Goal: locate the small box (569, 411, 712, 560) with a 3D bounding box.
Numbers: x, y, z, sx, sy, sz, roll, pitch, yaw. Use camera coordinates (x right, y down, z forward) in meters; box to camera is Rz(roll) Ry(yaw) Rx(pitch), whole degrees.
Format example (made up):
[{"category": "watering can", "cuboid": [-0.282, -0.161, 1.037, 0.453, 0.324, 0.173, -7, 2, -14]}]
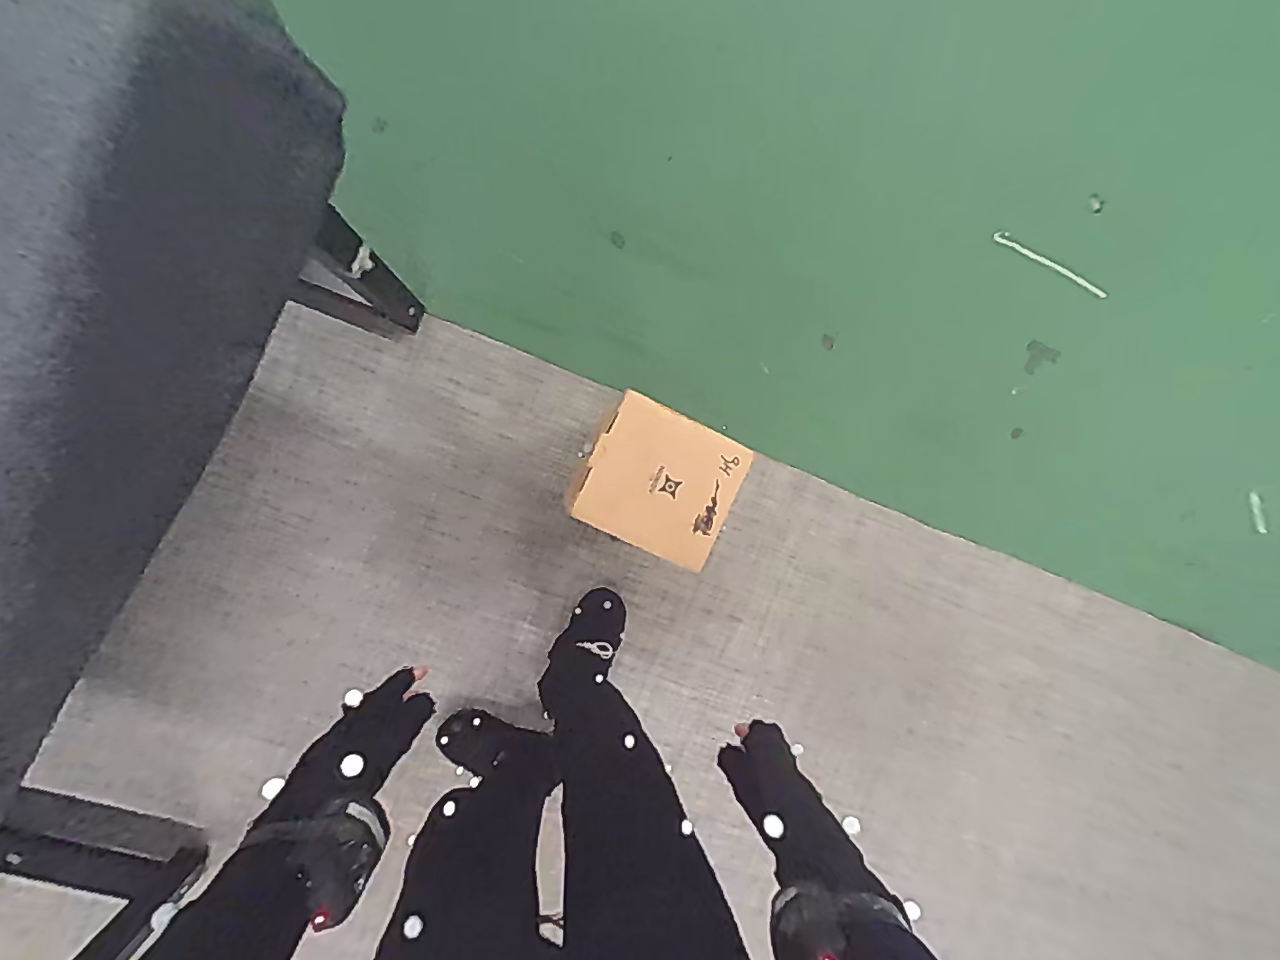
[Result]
[{"category": "small box", "cuboid": [-0.008, 0.007, 0.885, 0.168, 0.176, 0.179, 26, 88, -6]}]
